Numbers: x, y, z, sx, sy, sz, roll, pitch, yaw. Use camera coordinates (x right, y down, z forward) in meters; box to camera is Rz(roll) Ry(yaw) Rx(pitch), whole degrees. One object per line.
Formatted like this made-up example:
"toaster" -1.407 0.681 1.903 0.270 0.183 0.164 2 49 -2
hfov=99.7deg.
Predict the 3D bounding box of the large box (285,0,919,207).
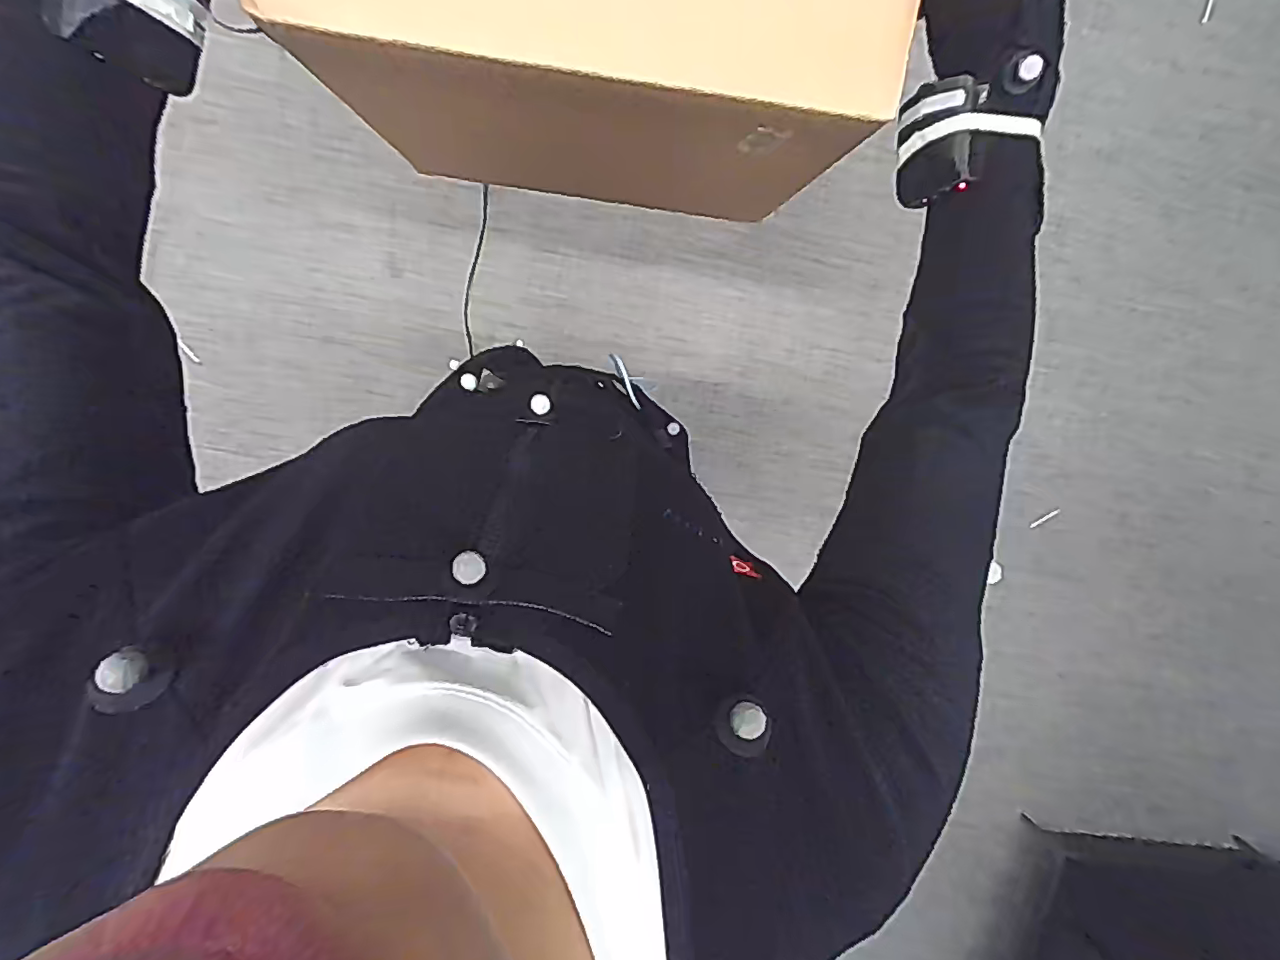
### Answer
"large box" -0.019 -0.451 0.452 0.408 0.320 0.320 5 105 -7
